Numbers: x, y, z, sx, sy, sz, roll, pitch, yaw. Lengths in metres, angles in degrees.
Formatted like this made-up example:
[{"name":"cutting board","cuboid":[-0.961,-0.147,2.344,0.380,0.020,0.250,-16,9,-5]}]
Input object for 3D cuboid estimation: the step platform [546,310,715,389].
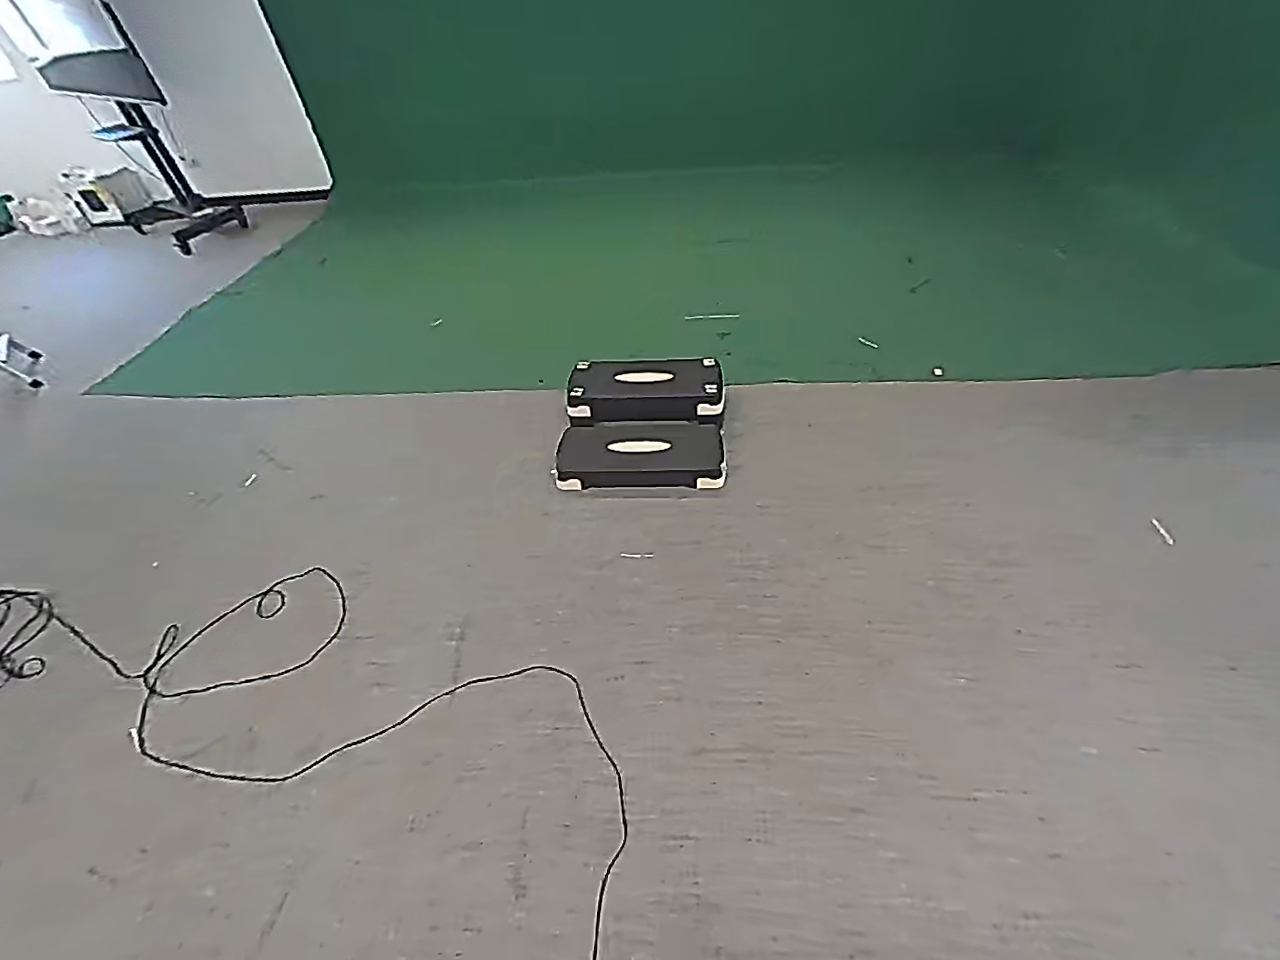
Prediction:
[{"name":"step platform","cuboid":[-0.033,-0.542,2.253,0.684,0.204,0.286,-1,46,6]}]
